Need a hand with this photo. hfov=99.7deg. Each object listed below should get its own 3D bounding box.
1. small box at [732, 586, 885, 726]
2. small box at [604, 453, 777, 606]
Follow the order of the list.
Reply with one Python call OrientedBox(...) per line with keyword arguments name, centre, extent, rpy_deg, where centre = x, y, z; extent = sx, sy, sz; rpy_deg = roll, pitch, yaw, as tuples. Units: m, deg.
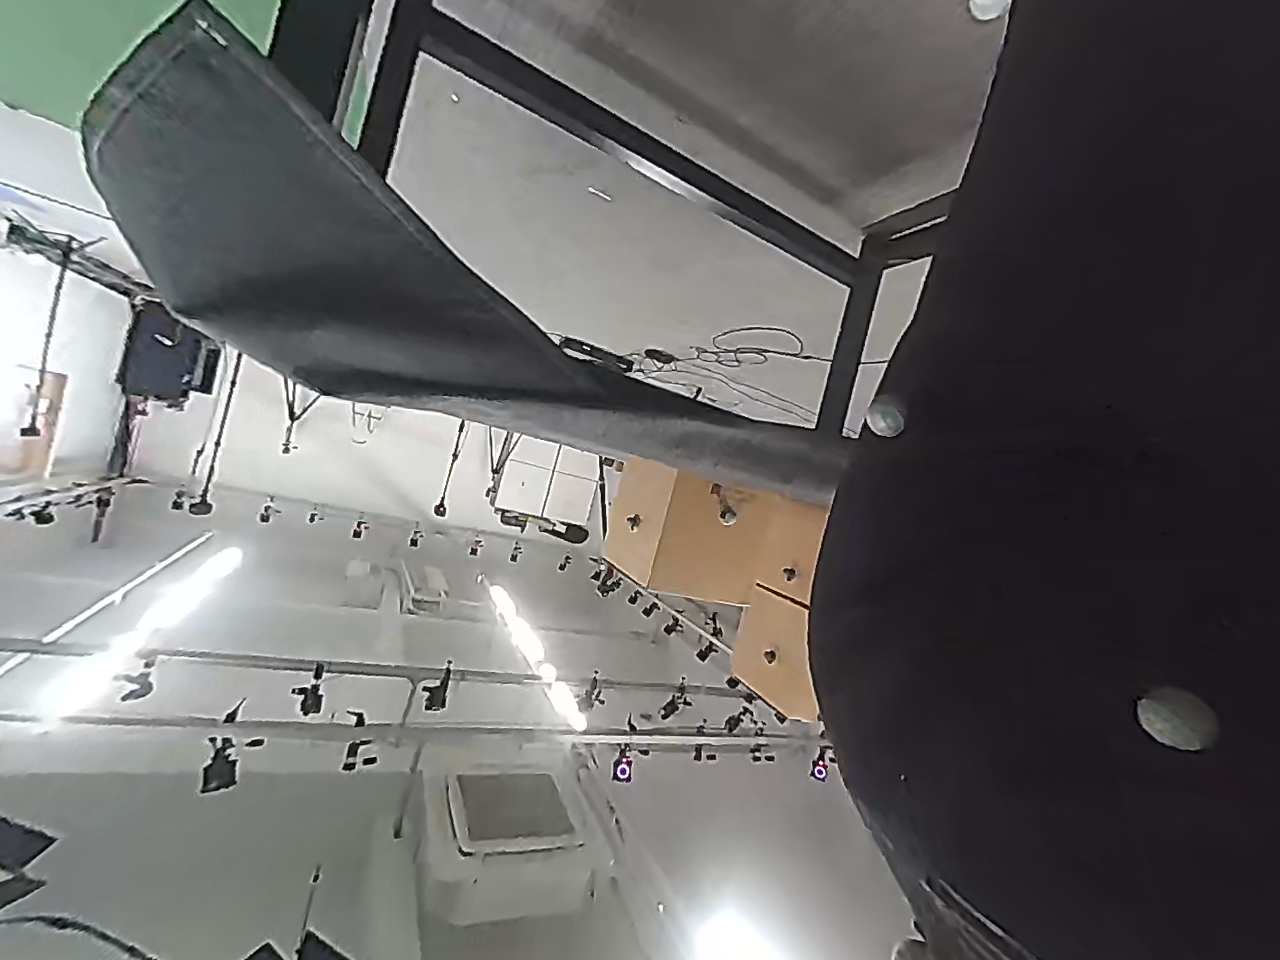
OrientedBox(name="small box", centre=(0.283, 0.285, 0.904), extent=(0.168, 0.176, 0.179), rpy_deg=(15, 178, -22))
OrientedBox(name="small box", centre=(0.070, 0.063, 0.774), extent=(0.168, 0.176, 0.179), rpy_deg=(15, 180, -25))
